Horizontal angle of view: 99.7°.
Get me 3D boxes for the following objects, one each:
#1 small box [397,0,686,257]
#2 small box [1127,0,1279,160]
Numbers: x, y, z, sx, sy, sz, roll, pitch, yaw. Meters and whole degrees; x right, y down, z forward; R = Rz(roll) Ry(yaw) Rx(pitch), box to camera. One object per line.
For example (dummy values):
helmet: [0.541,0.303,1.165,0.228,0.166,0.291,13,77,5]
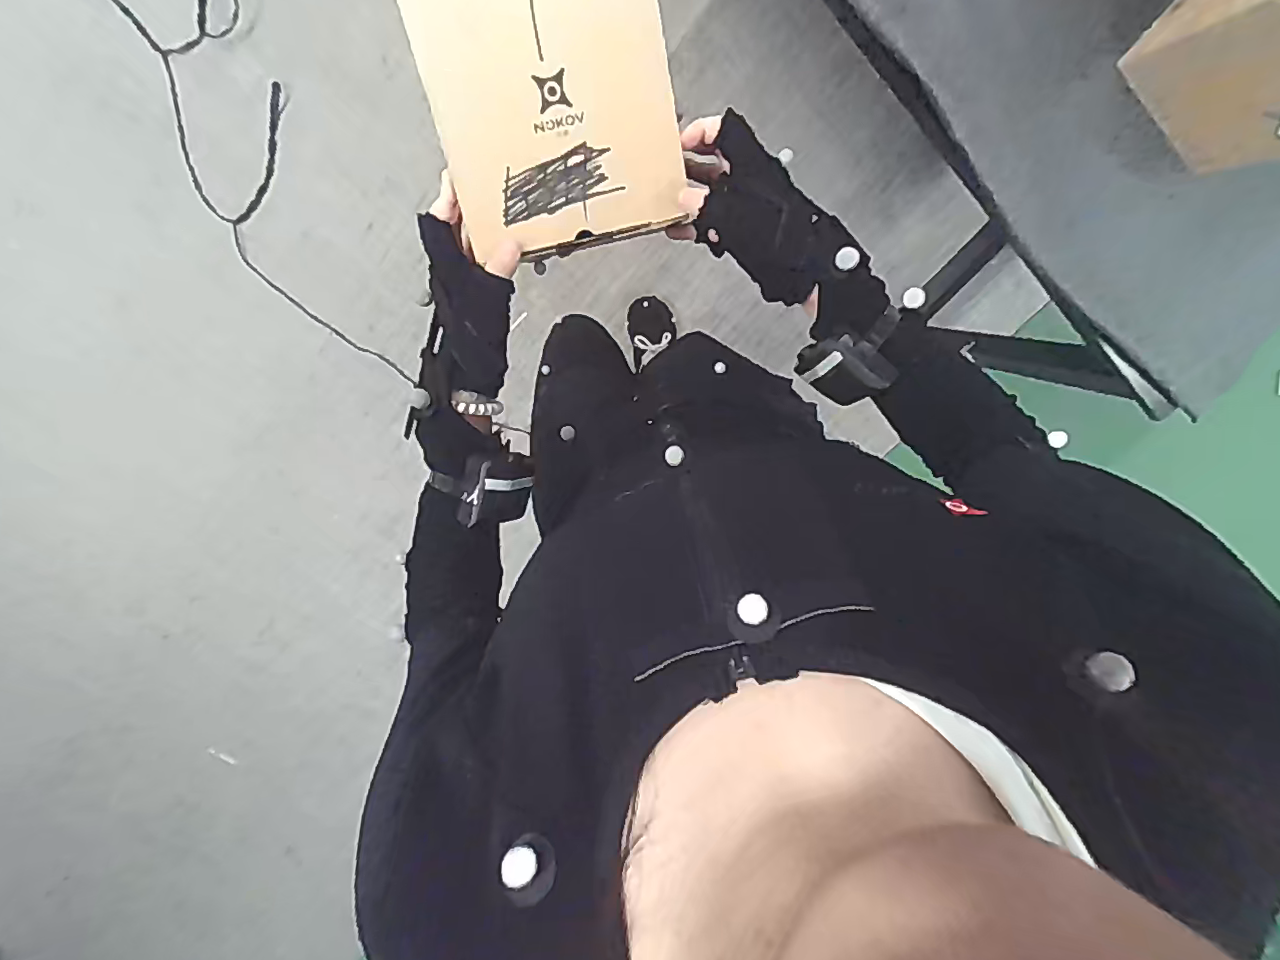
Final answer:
small box: [-0.065,-0.290,0.439,0.168,0.176,0.179,-13,112,1]
small box: [0.658,-0.450,0.532,0.179,0.176,0.168,38,104,-14]
